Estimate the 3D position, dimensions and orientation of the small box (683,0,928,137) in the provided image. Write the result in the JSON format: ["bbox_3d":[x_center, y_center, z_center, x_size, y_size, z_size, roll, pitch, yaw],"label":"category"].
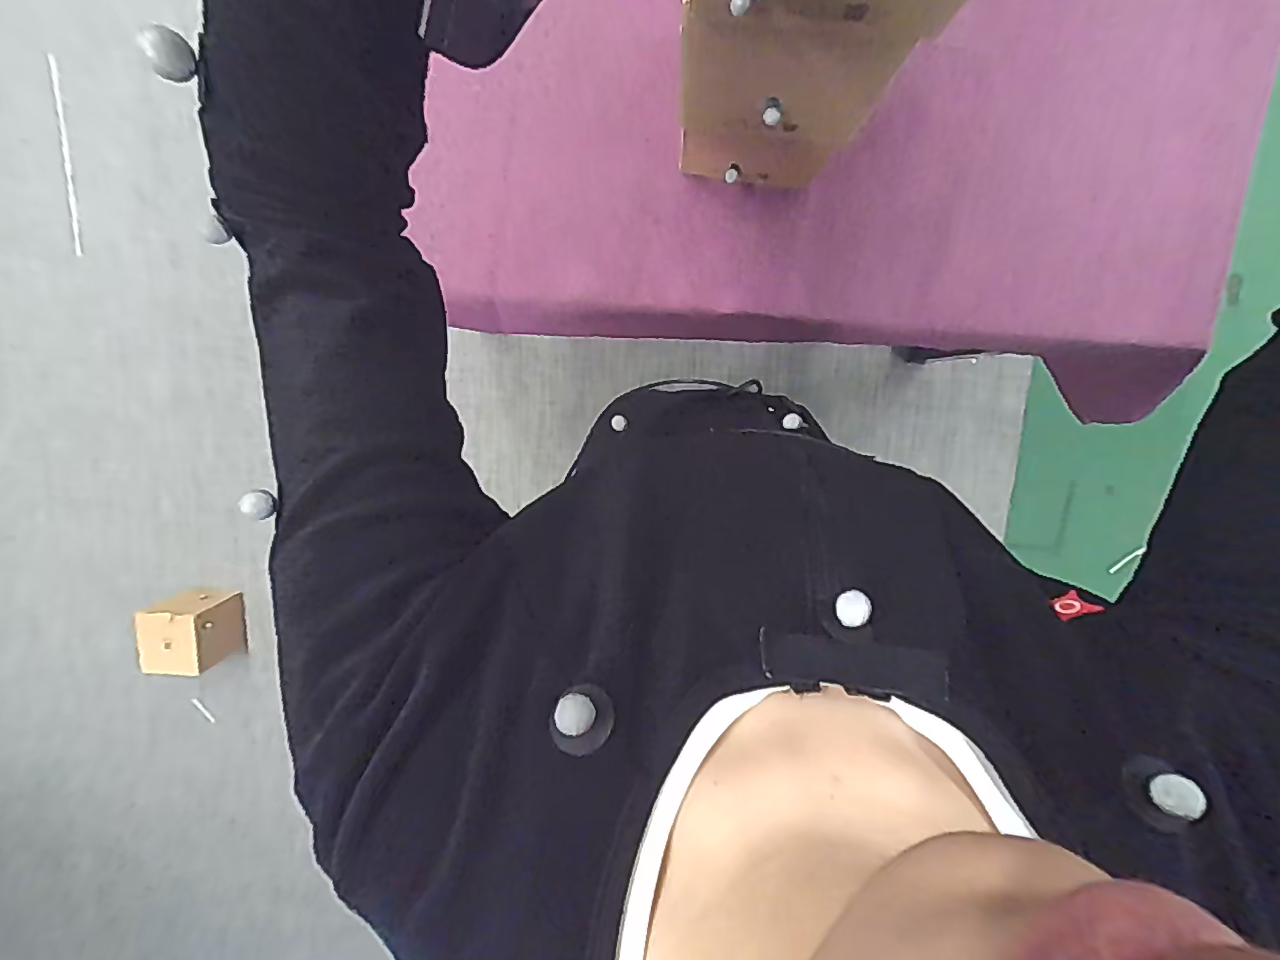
[{"bbox_3d":[0.126,-0.411,0.426,0.168,0.176,0.179,7,99,2],"label":"small box"}]

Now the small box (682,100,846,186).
[{"bbox_3d":[0.139,-0.451,0.585,0.168,0.176,0.179,8,100,2],"label":"small box"}]

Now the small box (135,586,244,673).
[{"bbox_3d":[-1.250,0.413,1.511,0.168,0.176,0.179,3,99,2],"label":"small box"}]
